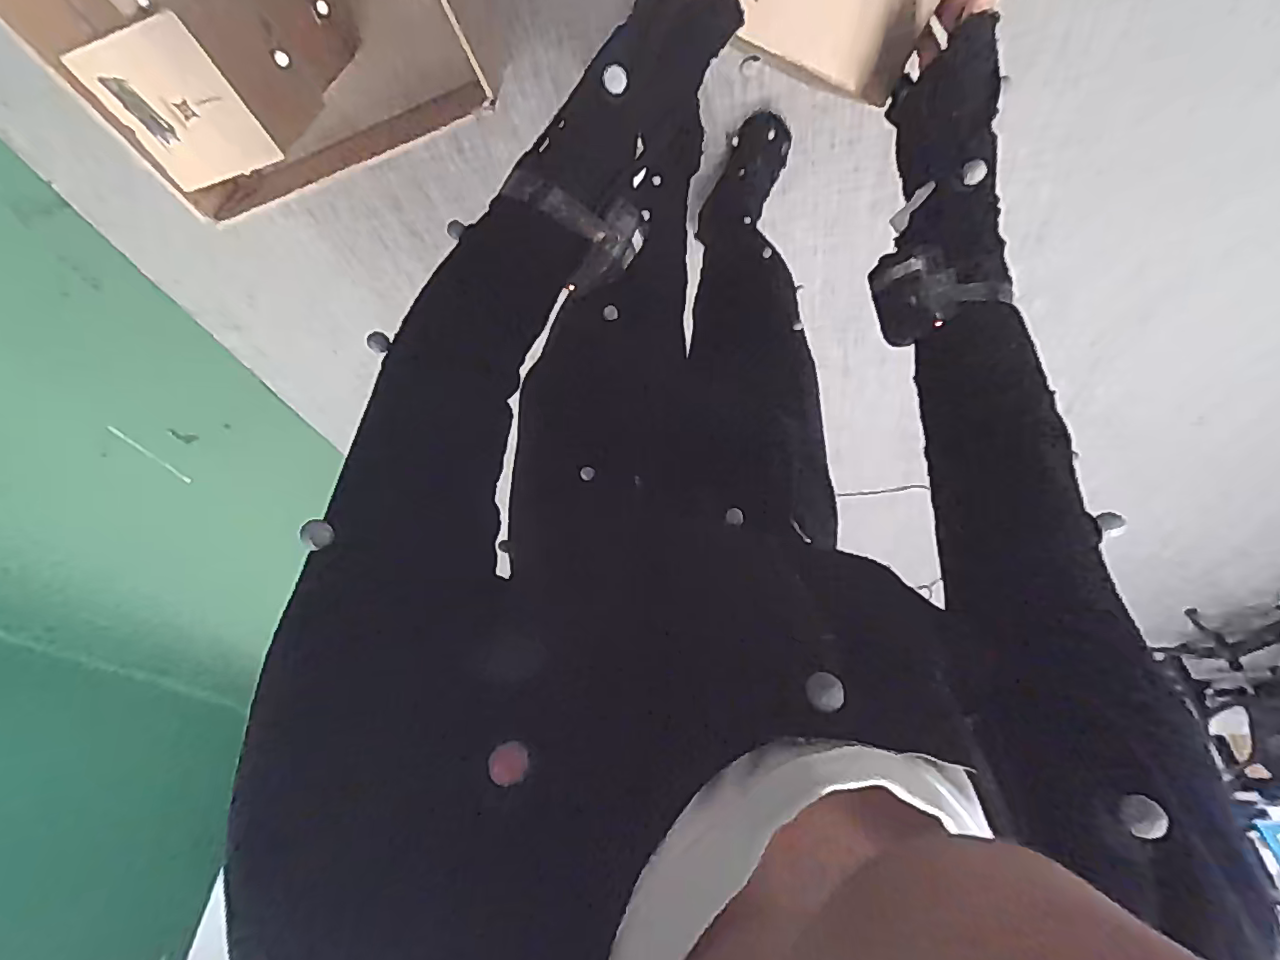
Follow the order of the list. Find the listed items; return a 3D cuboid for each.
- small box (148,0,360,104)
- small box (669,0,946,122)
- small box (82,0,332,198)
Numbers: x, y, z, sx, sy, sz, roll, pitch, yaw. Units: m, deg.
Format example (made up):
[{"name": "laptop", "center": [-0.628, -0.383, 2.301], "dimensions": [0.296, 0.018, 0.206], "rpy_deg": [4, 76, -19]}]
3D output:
[{"name": "small box", "center": [-0.568, -0.664, 0.825], "dimensions": [0.179, 0.176, 0.168], "rpy_deg": [-11, 143, 15]}, {"name": "small box", "center": [0.142, -0.431, 0.444], "dimensions": [0.179, 0.176, 0.168], "rpy_deg": [11, 128, -19]}, {"name": "small box", "center": [-0.566, -0.524, 0.737], "dimensions": [0.179, 0.176, 0.168], "rpy_deg": [-9, 143, 13]}]
